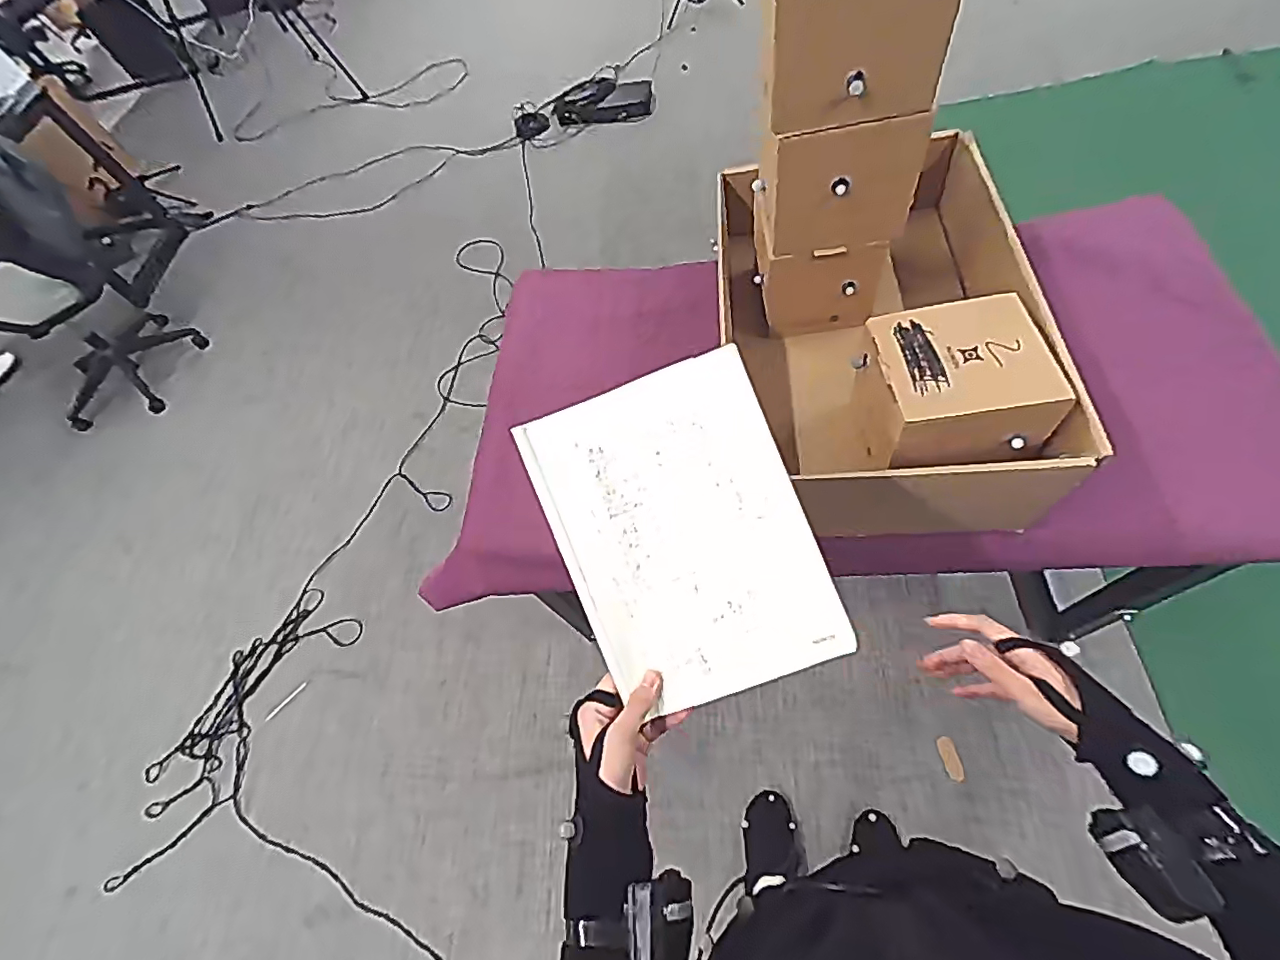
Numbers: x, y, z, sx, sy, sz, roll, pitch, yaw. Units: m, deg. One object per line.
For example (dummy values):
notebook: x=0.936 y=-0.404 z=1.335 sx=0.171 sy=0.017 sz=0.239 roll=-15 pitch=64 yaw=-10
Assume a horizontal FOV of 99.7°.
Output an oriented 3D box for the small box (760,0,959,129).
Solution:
small box: x=0.225 y=-0.511 z=0.573 sx=0.179 sy=0.176 sz=0.168 roll=-3 pitch=61 yaw=9

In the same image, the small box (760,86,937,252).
small box: x=0.256 y=-0.431 z=0.713 sx=0.179 sy=0.176 sz=0.168 roll=-6 pitch=61 yaw=9
